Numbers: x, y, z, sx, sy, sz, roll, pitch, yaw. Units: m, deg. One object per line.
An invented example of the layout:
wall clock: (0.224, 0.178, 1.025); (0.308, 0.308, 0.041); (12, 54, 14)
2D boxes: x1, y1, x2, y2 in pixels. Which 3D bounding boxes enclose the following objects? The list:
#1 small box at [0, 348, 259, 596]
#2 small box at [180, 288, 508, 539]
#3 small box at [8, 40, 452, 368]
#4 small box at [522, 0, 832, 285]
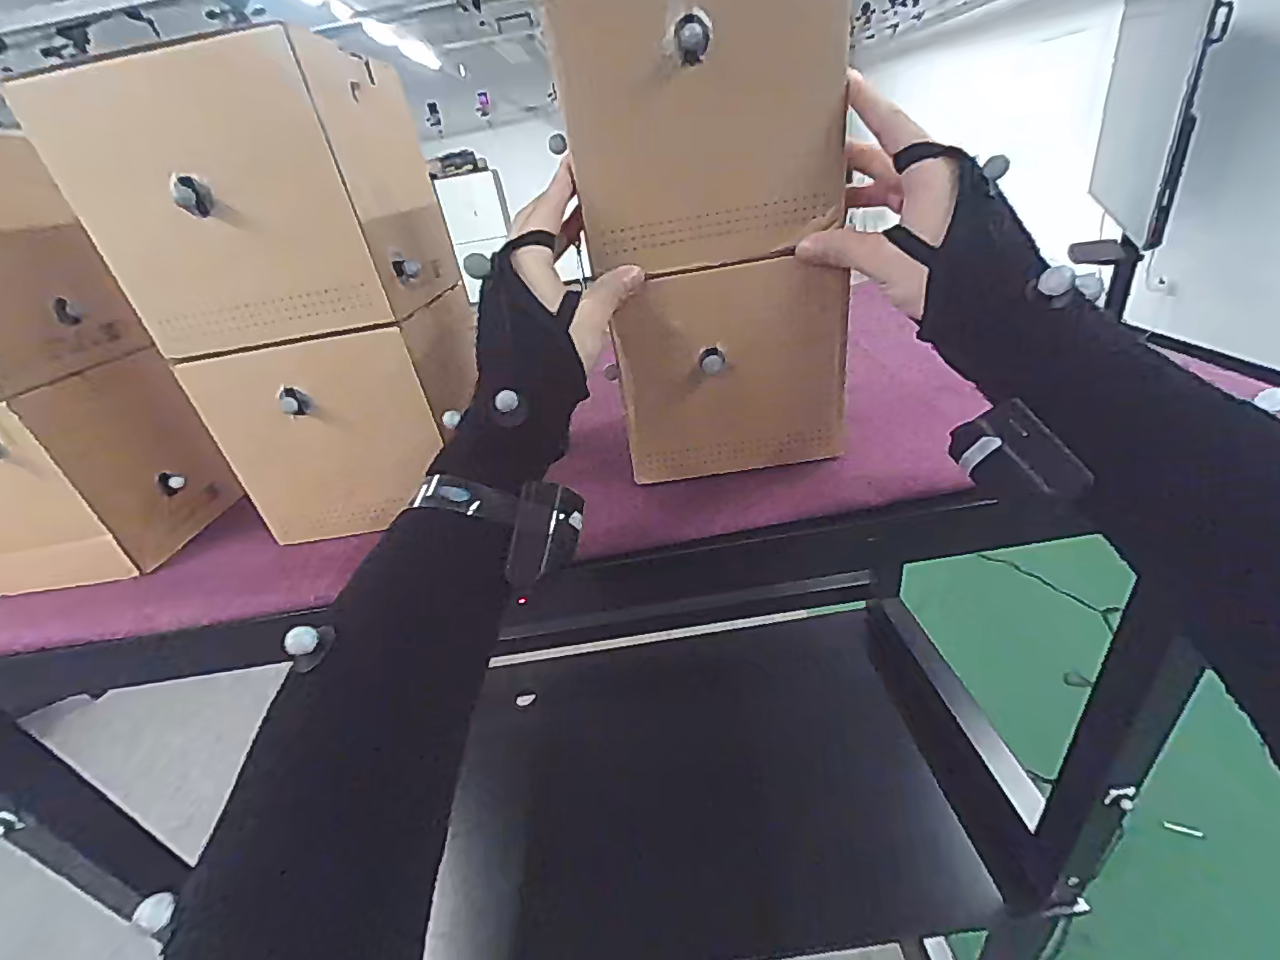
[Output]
small box: (-0.519, -0.009, 0.507); (0.179, 0.176, 0.168); (-8, 30, 3)
small box: (-0.242, -0.062, 0.498); (0.179, 0.176, 0.168); (-9, 31, 4)
small box: (-0.270, -0.201, 0.415); (0.179, 0.176, 0.168); (-10, 30, 5)
small box: (0.034, -0.254, 0.400); (0.179, 0.176, 0.168); (-8, 31, 5)
